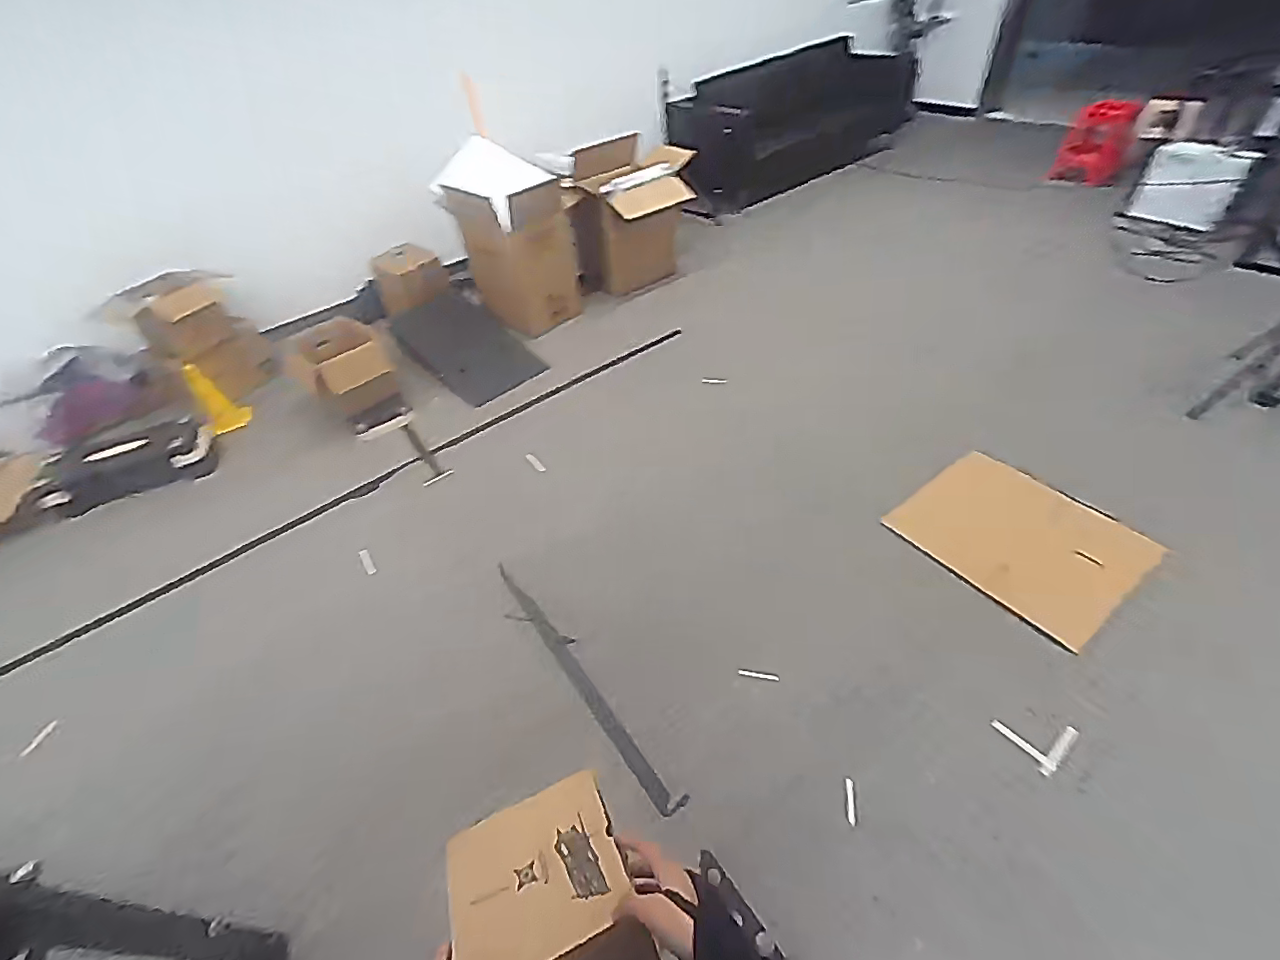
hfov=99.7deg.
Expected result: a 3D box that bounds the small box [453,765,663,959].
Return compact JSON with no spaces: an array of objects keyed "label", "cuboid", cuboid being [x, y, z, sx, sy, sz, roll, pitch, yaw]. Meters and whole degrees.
[{"label":"small box","cuboid":[-0.085,0.463,0.585,0.179,0.176,0.168,-21,27,-13]}]
